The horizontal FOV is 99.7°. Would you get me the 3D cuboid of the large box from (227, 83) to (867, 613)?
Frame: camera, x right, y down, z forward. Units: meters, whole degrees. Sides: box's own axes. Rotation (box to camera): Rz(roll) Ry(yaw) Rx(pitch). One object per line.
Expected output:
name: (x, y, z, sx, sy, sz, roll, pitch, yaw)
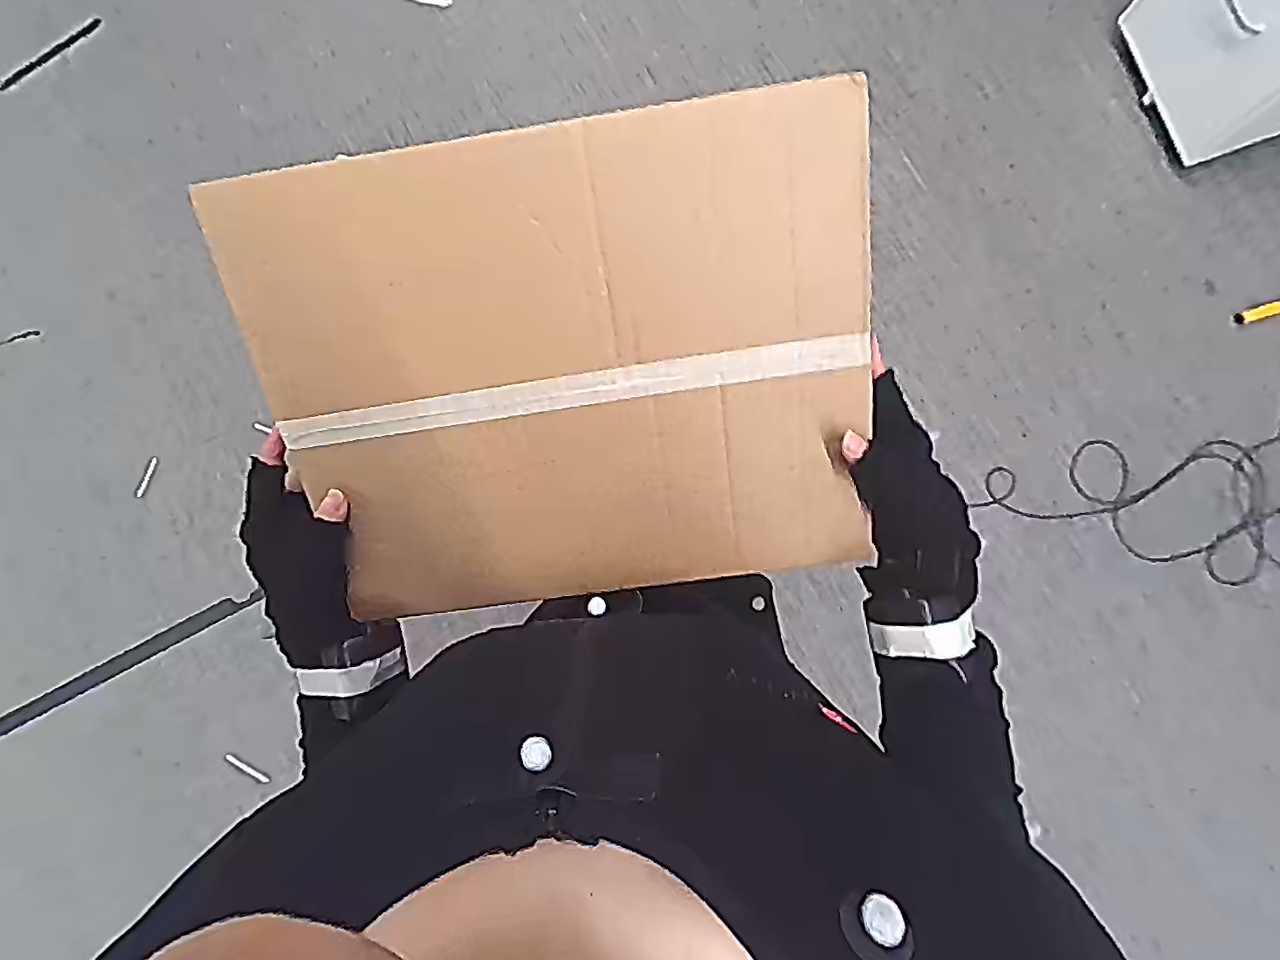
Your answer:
large box: (-0.046, -0.111, 0.517, 0.408, 0.320, 0.320, -8, 110, 3)
